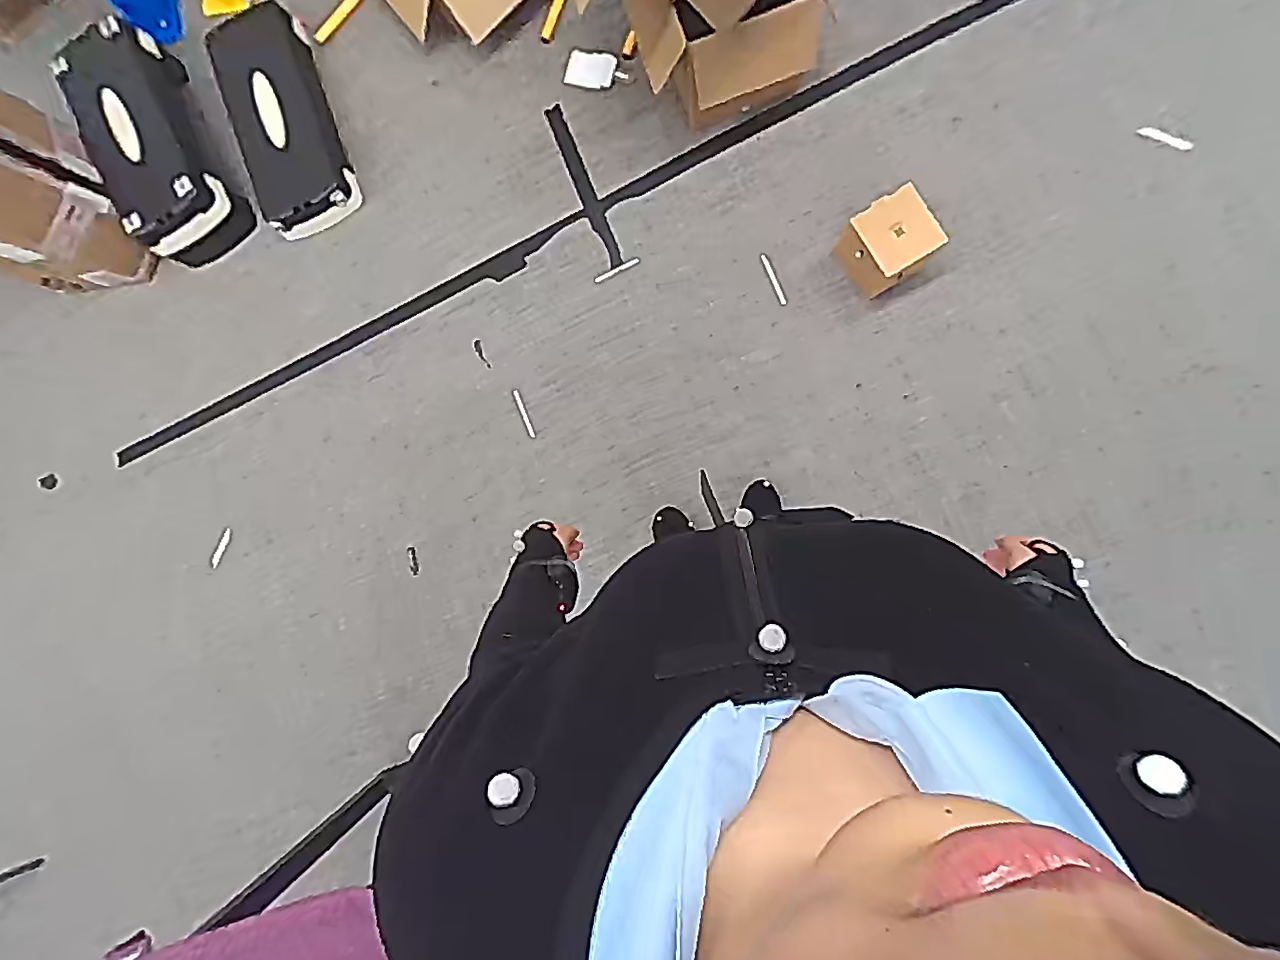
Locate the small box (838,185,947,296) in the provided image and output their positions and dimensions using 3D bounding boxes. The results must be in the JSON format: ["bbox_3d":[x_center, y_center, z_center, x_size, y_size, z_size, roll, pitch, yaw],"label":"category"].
[{"bbox_3d":[0.634,-0.594,1.378,0.168,0.176,0.179,-31,84,7],"label":"small box"}]
